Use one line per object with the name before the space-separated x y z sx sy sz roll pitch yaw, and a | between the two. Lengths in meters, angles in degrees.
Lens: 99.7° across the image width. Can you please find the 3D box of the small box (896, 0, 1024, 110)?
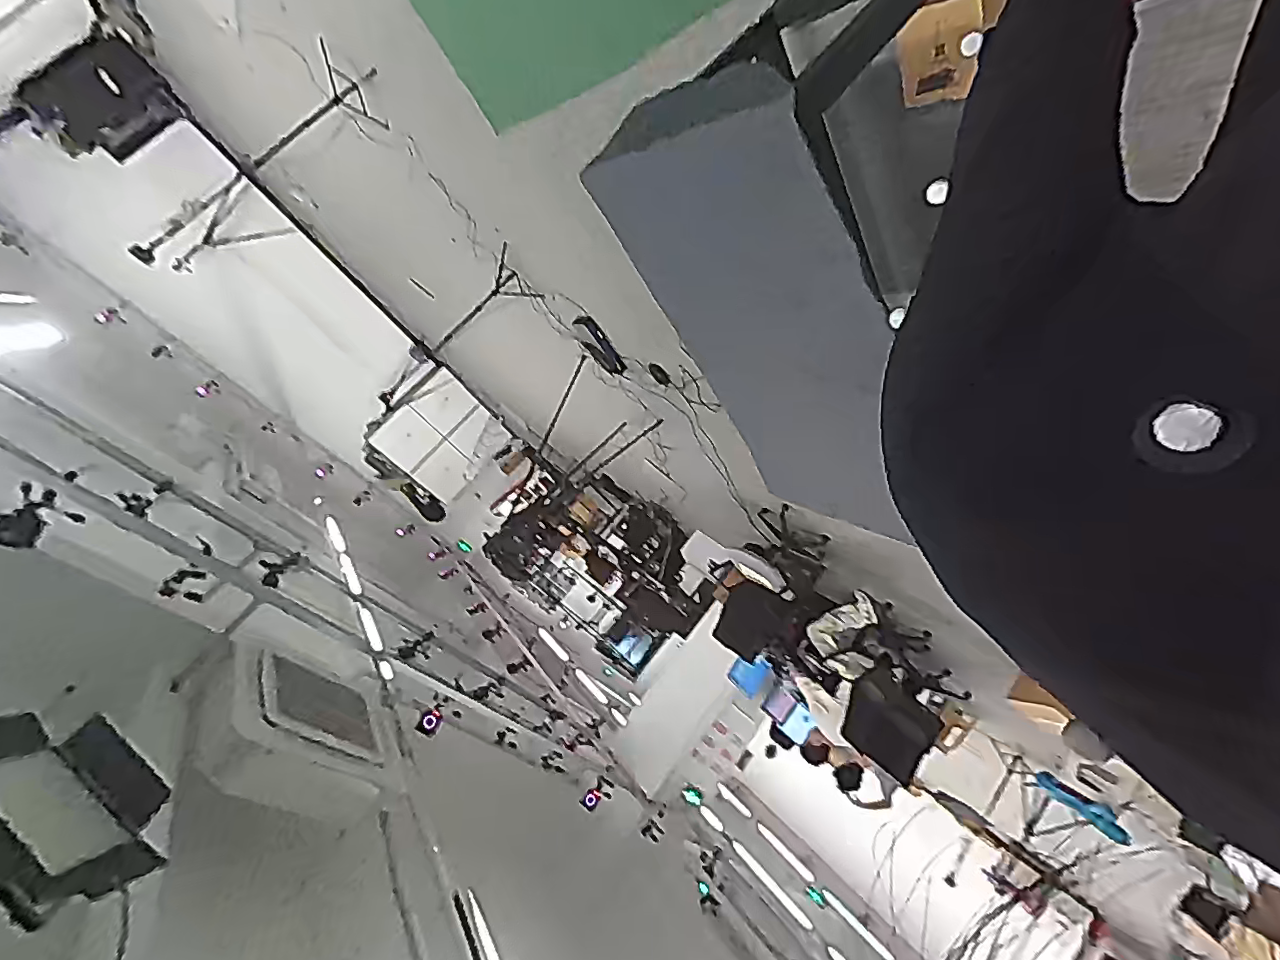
small box | 0.654 -0.903 1.099 0.168 0.176 0.179 26 160 46
